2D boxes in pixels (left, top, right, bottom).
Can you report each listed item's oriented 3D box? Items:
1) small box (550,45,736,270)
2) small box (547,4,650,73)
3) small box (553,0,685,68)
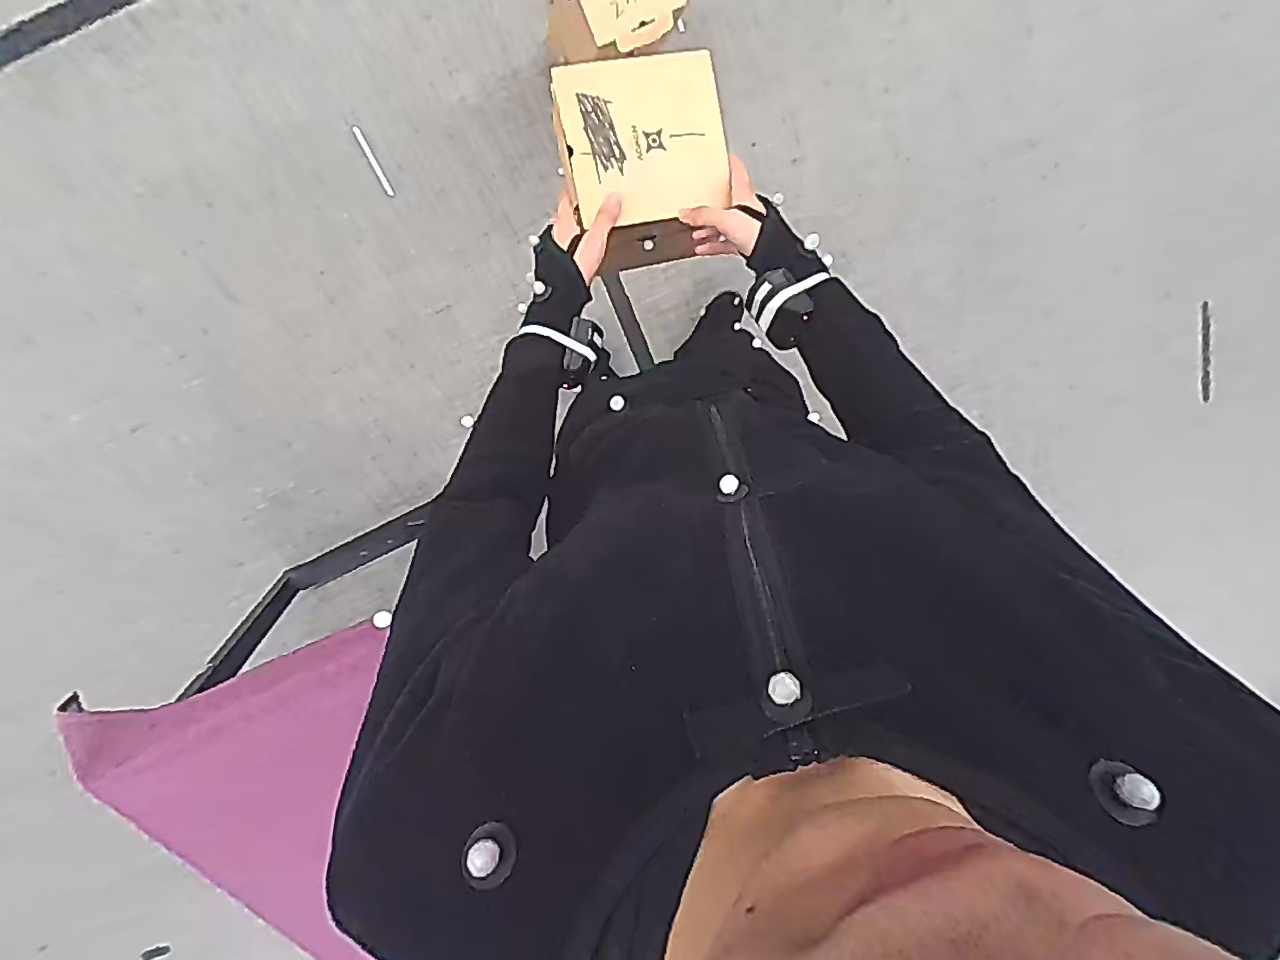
[{"bbox_3d":[0.003,-0.370,0.656,0.179,0.176,0.168,-12,97,-1],"label":"small box"},{"bbox_3d":[-0.093,-0.960,1.204,0.168,0.176,0.179,-30,113,1],"label":"small box"},{"bbox_3d":[-0.050,-0.826,0.904,0.168,0.176,0.179,-27,114,-1],"label":"small box"}]
